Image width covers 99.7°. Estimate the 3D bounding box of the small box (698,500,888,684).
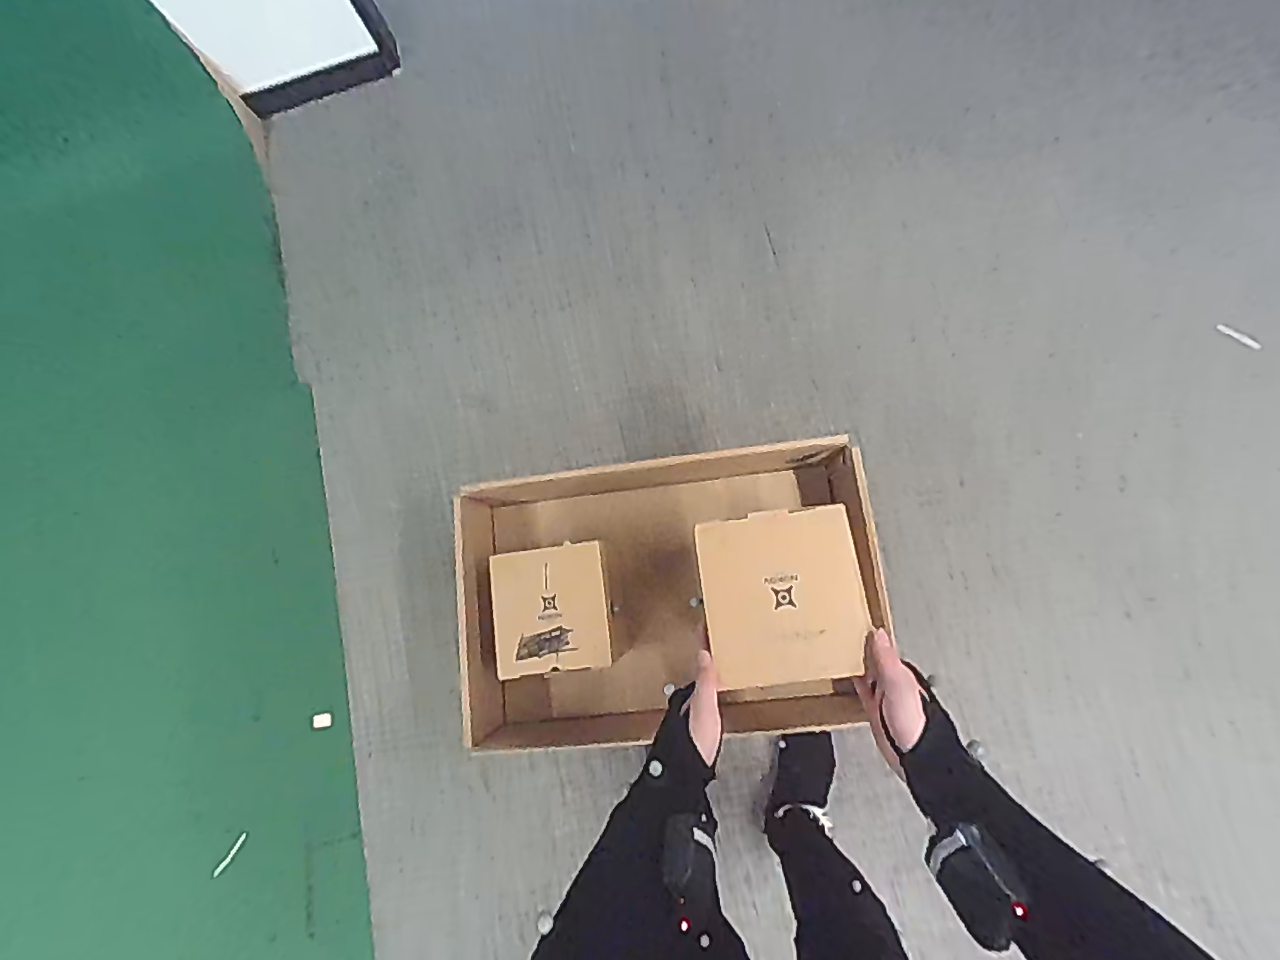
[{"bbox_3d":[0.158,0.135,0.627,0.168,0.176,0.179,-7,72,3],"label":"small box"}]
